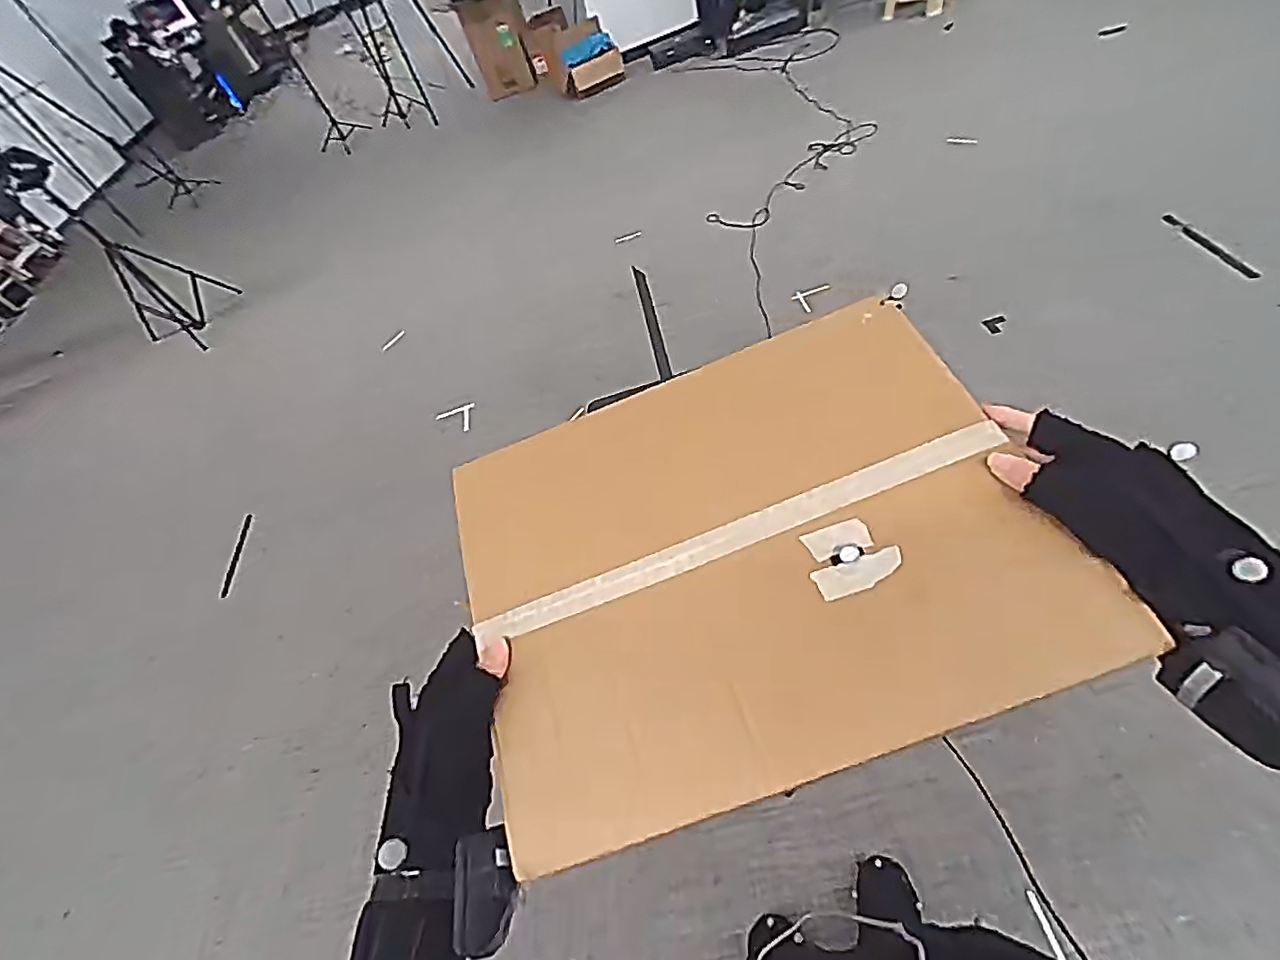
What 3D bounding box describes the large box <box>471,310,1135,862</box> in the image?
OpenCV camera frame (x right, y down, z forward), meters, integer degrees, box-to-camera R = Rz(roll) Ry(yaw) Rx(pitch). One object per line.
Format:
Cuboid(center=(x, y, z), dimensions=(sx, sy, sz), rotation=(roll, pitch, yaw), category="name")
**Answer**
Cuboid(center=(0.105, 0.114, 0.535), dimensions=(0.408, 0.320, 0.320), rotation=(-22, 60, 3), category="large box")
